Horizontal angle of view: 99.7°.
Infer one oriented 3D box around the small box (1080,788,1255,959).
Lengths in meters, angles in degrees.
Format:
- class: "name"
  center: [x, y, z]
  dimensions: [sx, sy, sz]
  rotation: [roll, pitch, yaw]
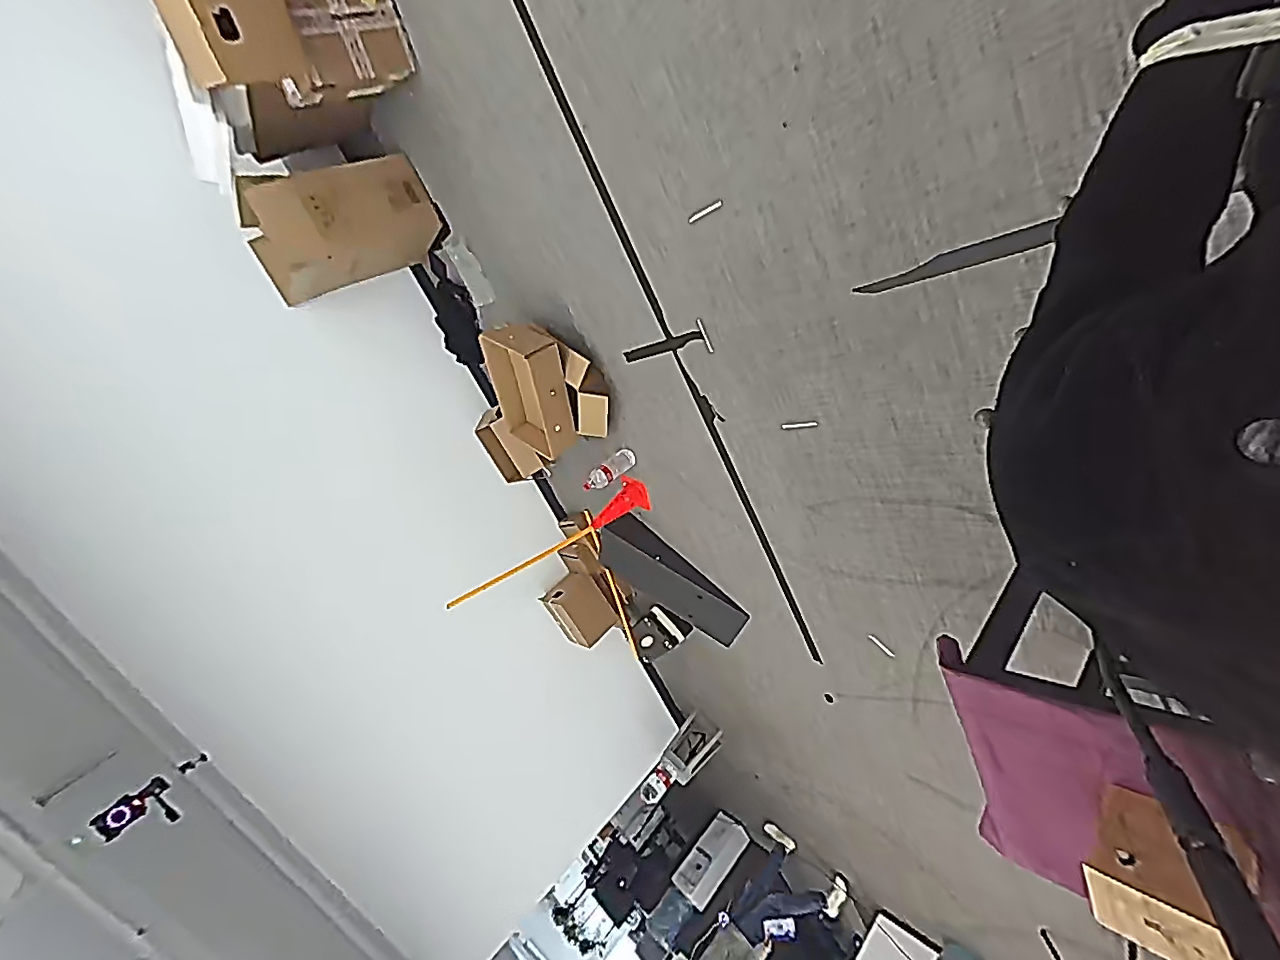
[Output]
- class: "small box"
  center: [0.854, 0.642, 0.876]
  dimensions: [0.179, 0.176, 0.168]
  rotation: [2, 125, 53]
